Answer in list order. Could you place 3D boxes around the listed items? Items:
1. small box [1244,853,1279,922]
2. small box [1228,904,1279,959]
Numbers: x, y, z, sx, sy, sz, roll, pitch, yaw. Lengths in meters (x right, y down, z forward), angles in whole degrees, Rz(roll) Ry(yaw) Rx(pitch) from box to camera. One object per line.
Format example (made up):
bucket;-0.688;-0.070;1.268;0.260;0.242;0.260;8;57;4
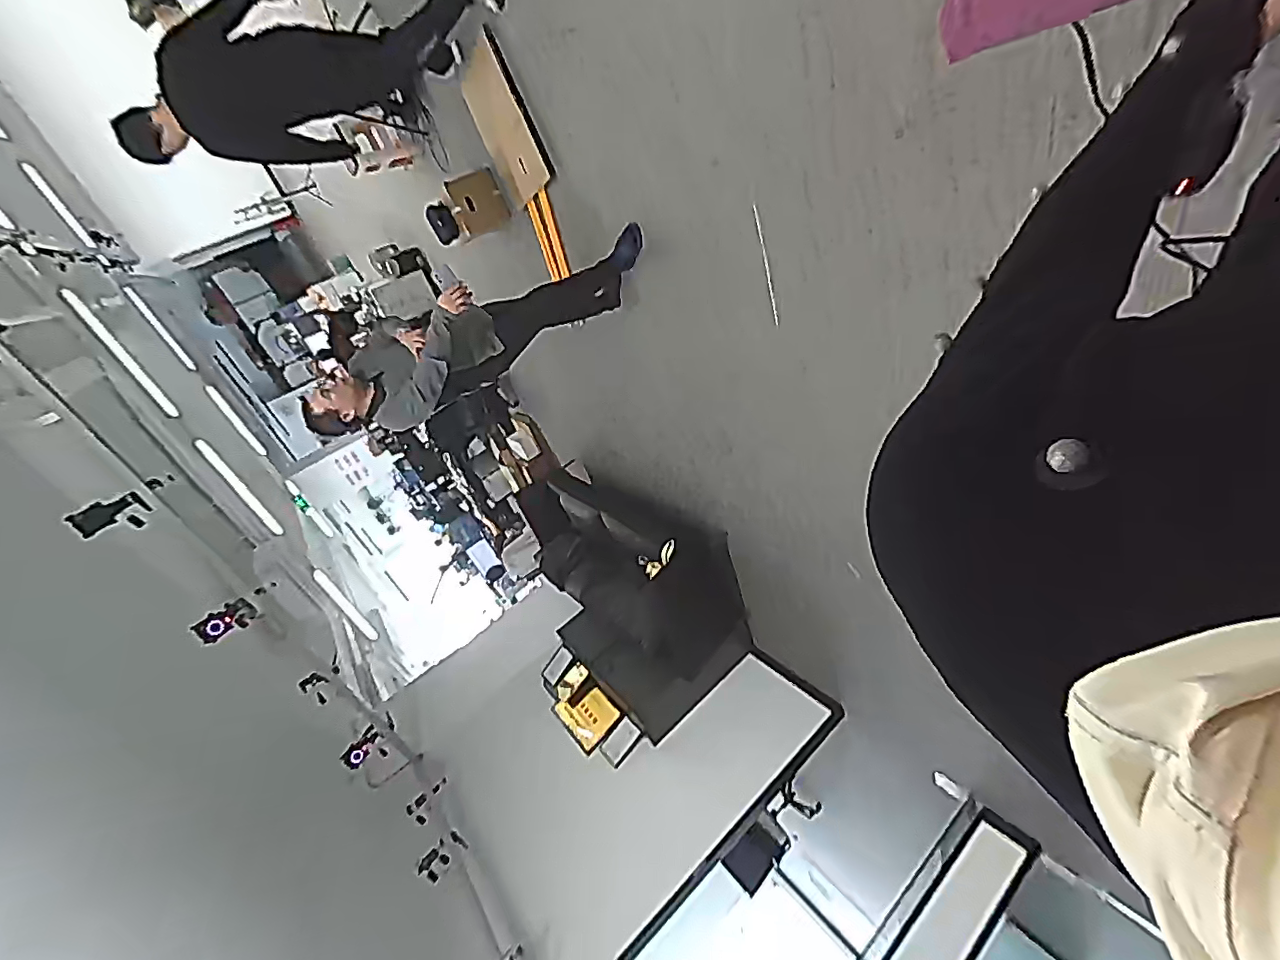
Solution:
small box;1.562;0.999;1.245;0.168;0.176;0.179;27;146;47
small box;1.440;1.087;1.182;0.168;0.176;0.179;28;146;45
